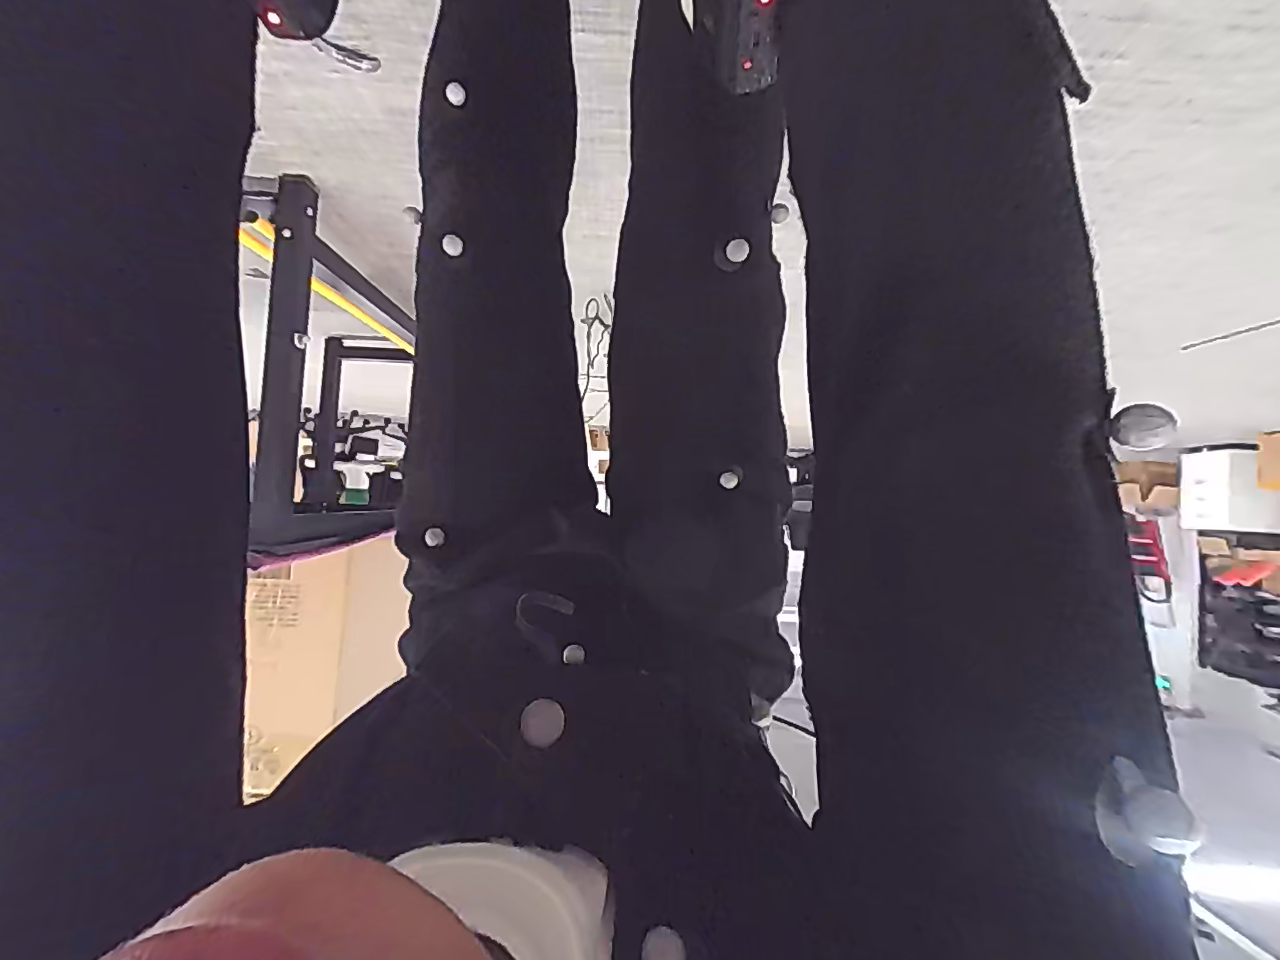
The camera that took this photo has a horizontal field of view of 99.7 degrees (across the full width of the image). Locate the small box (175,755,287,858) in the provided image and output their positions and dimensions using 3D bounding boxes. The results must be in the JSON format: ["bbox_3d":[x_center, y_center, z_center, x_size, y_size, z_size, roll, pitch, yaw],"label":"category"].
[{"bbox_3d":[-1.056,0.840,1.407,0.168,0.176,0.179,3,179,2],"label":"small box"}]
